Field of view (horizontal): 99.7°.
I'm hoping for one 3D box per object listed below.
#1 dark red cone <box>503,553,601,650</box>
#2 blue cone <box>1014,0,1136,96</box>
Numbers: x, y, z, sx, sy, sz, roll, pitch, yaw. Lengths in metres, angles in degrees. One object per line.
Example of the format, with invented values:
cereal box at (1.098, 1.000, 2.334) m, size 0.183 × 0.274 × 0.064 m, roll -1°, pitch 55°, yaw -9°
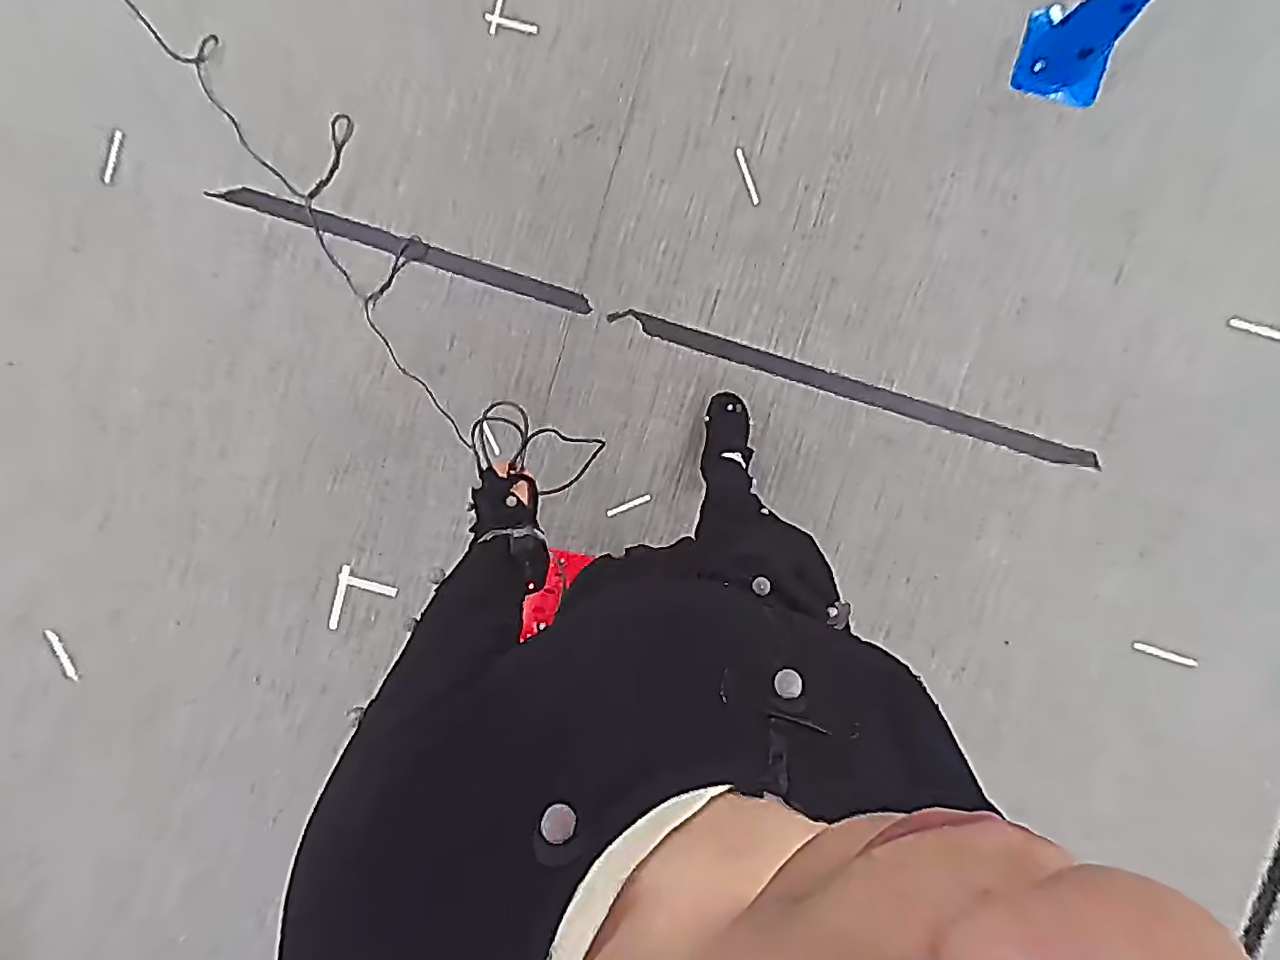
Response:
dark red cone at (-0.214, 0.290, 1.169) m, size 0.202 × 0.394 × 0.201 m, roll 10°, pitch 91°, yaw 2°
blue cone at (0.979, -1.002, 1.101) m, size 0.193 × 0.380 × 0.192 m, roll 18°, pitch 91°, yaw 2°
